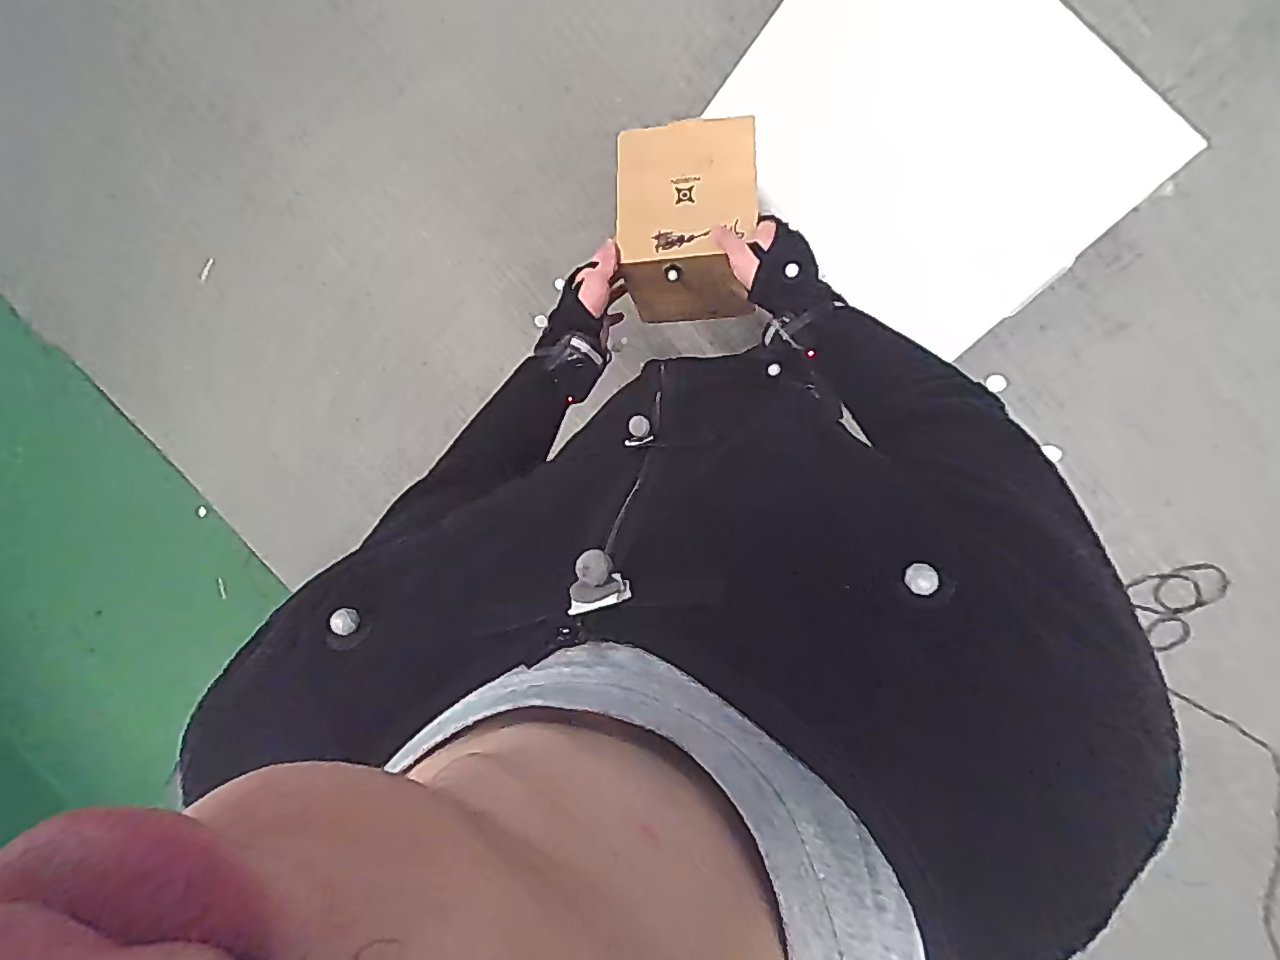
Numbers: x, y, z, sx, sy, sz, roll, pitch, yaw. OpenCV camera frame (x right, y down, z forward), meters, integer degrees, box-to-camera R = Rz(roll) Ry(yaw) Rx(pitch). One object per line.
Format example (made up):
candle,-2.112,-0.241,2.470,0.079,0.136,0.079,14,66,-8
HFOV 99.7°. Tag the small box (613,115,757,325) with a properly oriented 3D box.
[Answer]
small box,0.065,-0.325,0.707,0.168,0.176,0.179,-3,80,12
